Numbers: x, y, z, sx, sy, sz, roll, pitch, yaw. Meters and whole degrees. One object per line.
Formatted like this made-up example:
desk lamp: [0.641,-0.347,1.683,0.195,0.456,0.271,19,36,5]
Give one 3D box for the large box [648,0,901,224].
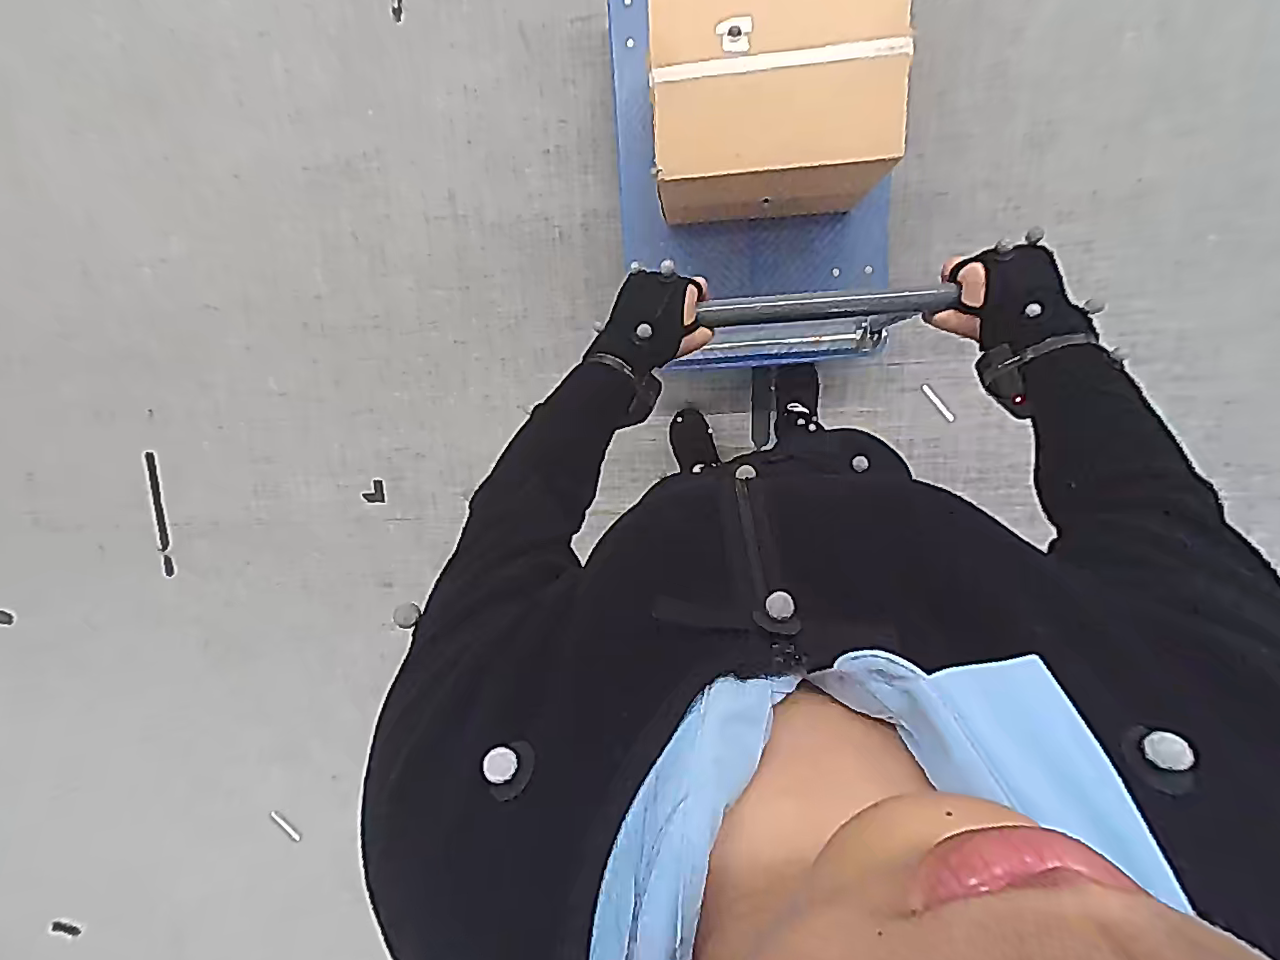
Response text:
large box: [0.239,-0.706,1.033,0.408,0.320,0.320,-2,101,8]
